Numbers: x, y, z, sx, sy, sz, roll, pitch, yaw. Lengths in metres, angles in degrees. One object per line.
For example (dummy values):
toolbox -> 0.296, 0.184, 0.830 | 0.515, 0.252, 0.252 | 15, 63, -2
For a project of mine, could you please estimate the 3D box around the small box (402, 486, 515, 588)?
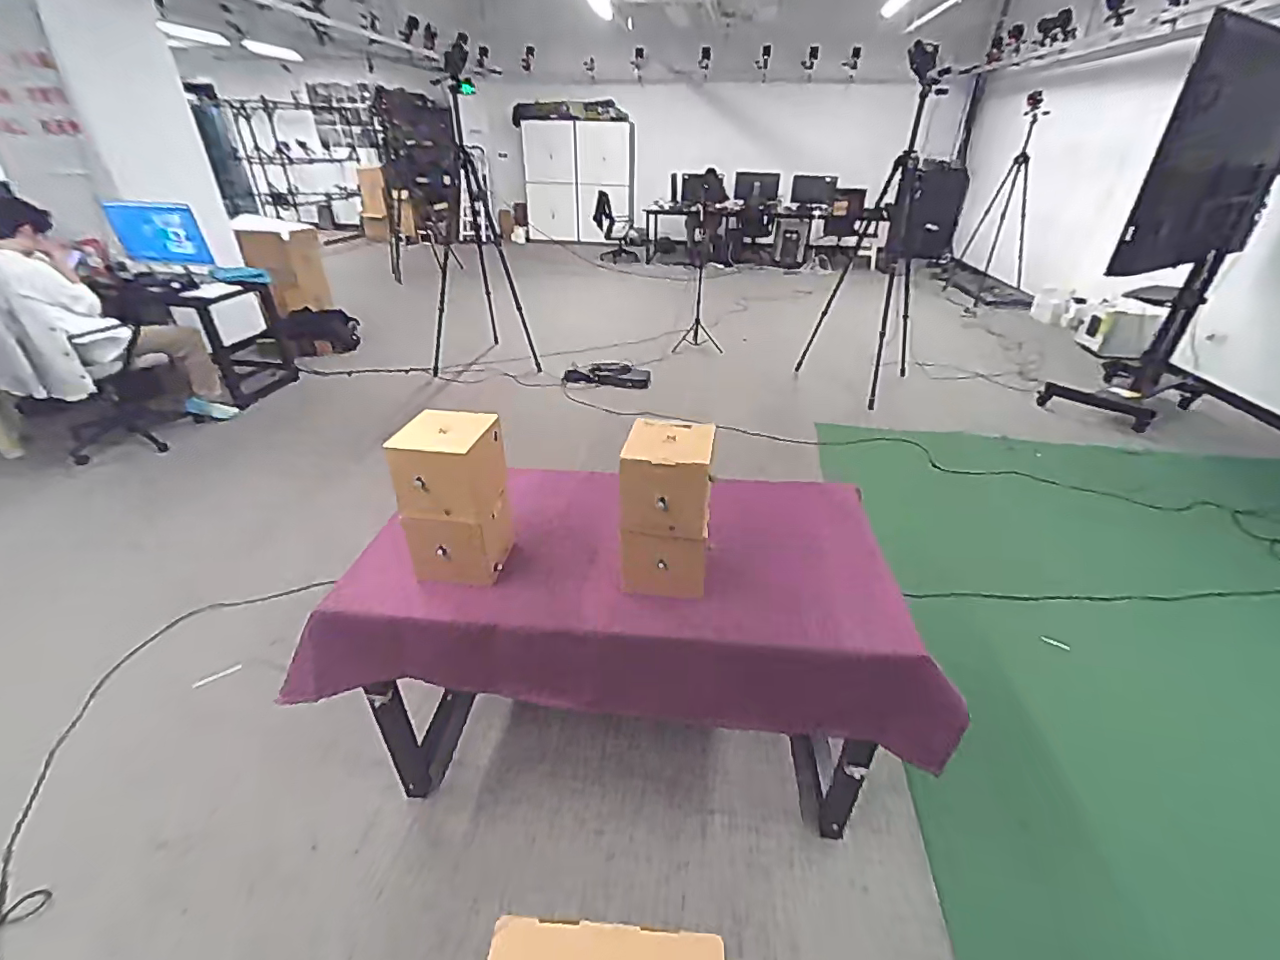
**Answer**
small box -> -0.387, 0.119, 1.192 | 0.179, 0.176, 0.168 | 4, 31, 6

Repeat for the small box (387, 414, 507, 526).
small box -> -0.382, -0.021, 1.110 | 0.168, 0.176, 0.179 | 5, 30, 6

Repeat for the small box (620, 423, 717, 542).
small box -> 0.061, 0.003, 1.078 | 0.168, 0.176, 0.179 | 7, 32, 9
